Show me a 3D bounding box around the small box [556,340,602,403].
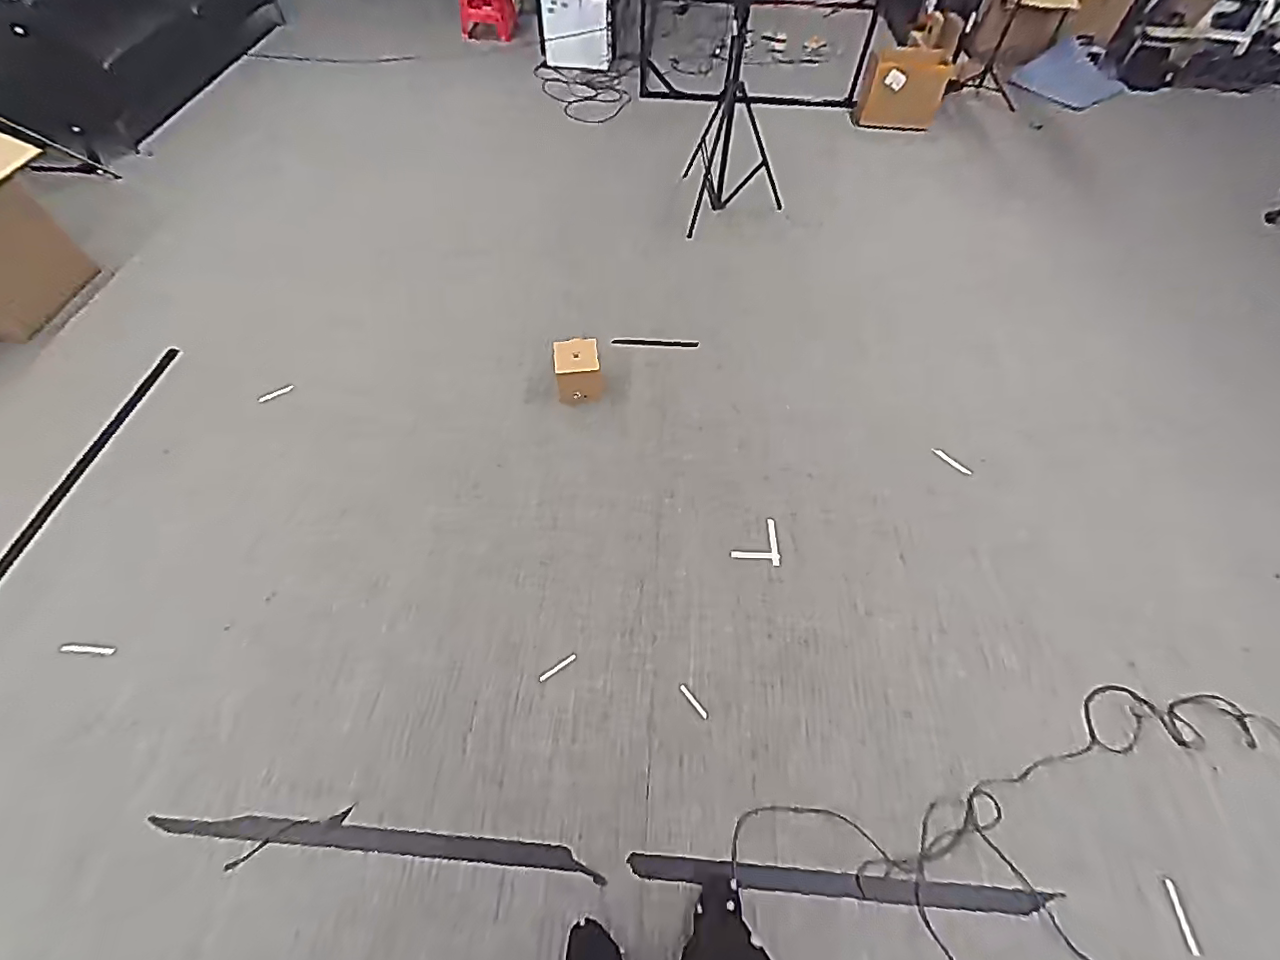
[{"bbox_3d":[-0.238,-0.423,2.111,0.168,0.176,0.179,-6,56,-4],"label":"small box"}]
